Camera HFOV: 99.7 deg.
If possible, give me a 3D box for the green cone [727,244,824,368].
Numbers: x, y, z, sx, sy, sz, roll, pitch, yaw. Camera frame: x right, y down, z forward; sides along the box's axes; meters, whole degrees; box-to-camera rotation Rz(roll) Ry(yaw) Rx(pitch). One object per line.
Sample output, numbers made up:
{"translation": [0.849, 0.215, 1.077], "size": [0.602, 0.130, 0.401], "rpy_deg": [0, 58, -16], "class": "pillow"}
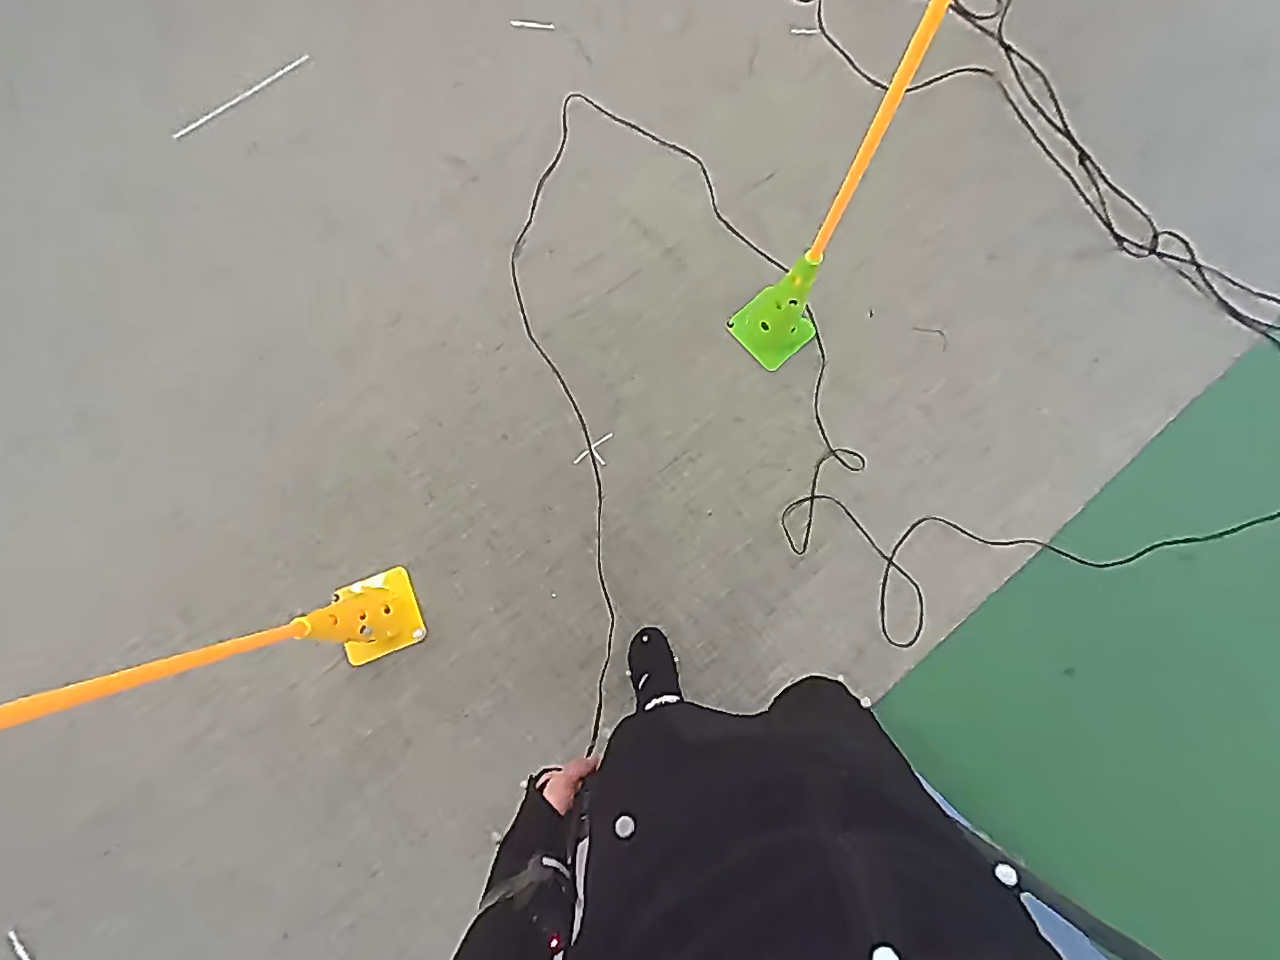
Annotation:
{"translation": [0.387, -0.477, 1.396], "size": [0.202, 0.368, 0.200], "rpy_deg": [-42, 84, -10], "class": "green cone"}
